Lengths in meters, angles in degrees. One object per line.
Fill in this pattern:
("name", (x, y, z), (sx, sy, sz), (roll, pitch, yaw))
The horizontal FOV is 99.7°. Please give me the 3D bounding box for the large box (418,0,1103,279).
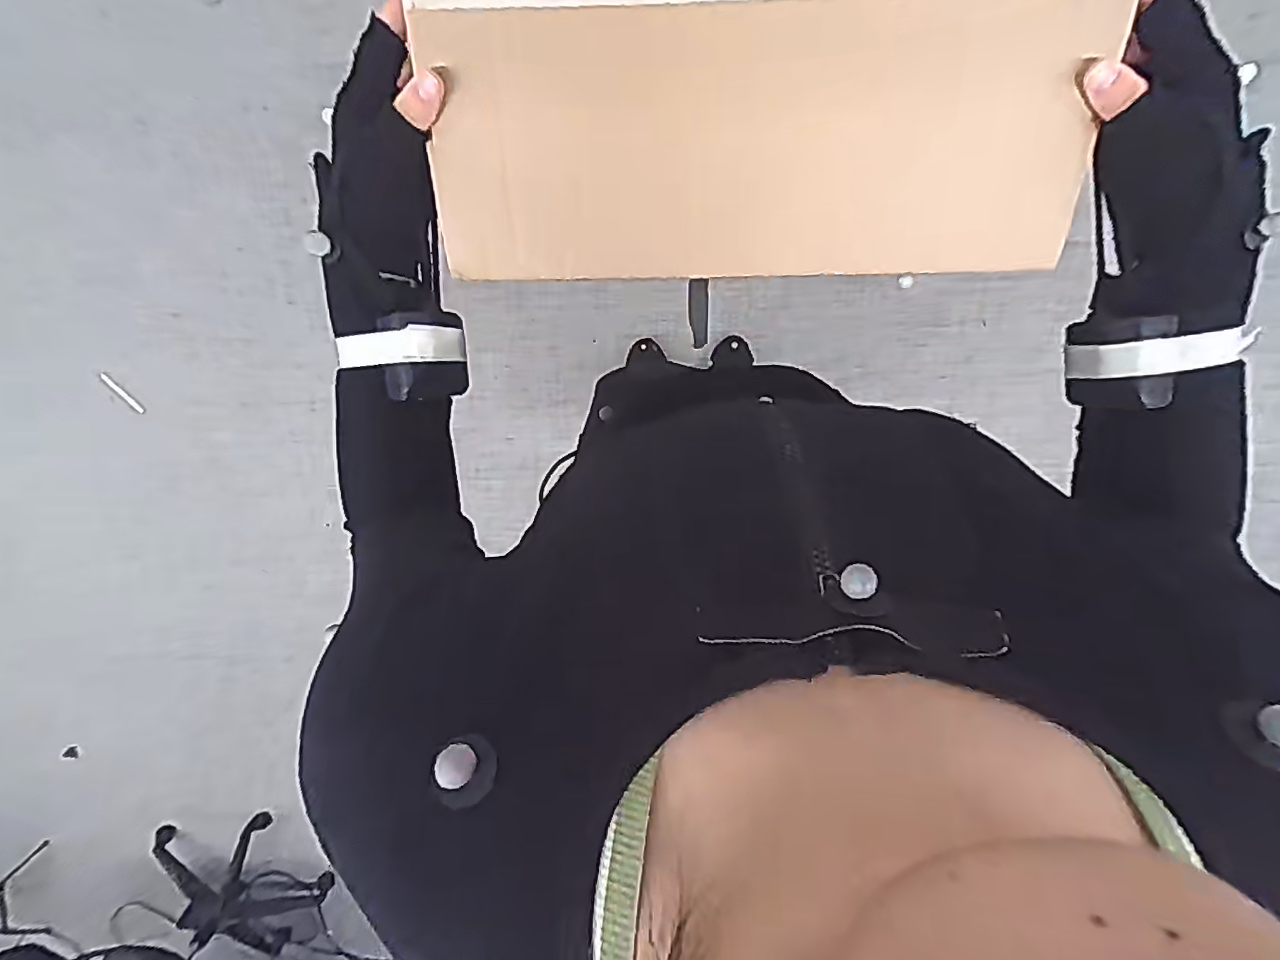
("large box", (0.073, -0.352, 0.440), (0.408, 0.320, 0.320), (0, 116, 2))
